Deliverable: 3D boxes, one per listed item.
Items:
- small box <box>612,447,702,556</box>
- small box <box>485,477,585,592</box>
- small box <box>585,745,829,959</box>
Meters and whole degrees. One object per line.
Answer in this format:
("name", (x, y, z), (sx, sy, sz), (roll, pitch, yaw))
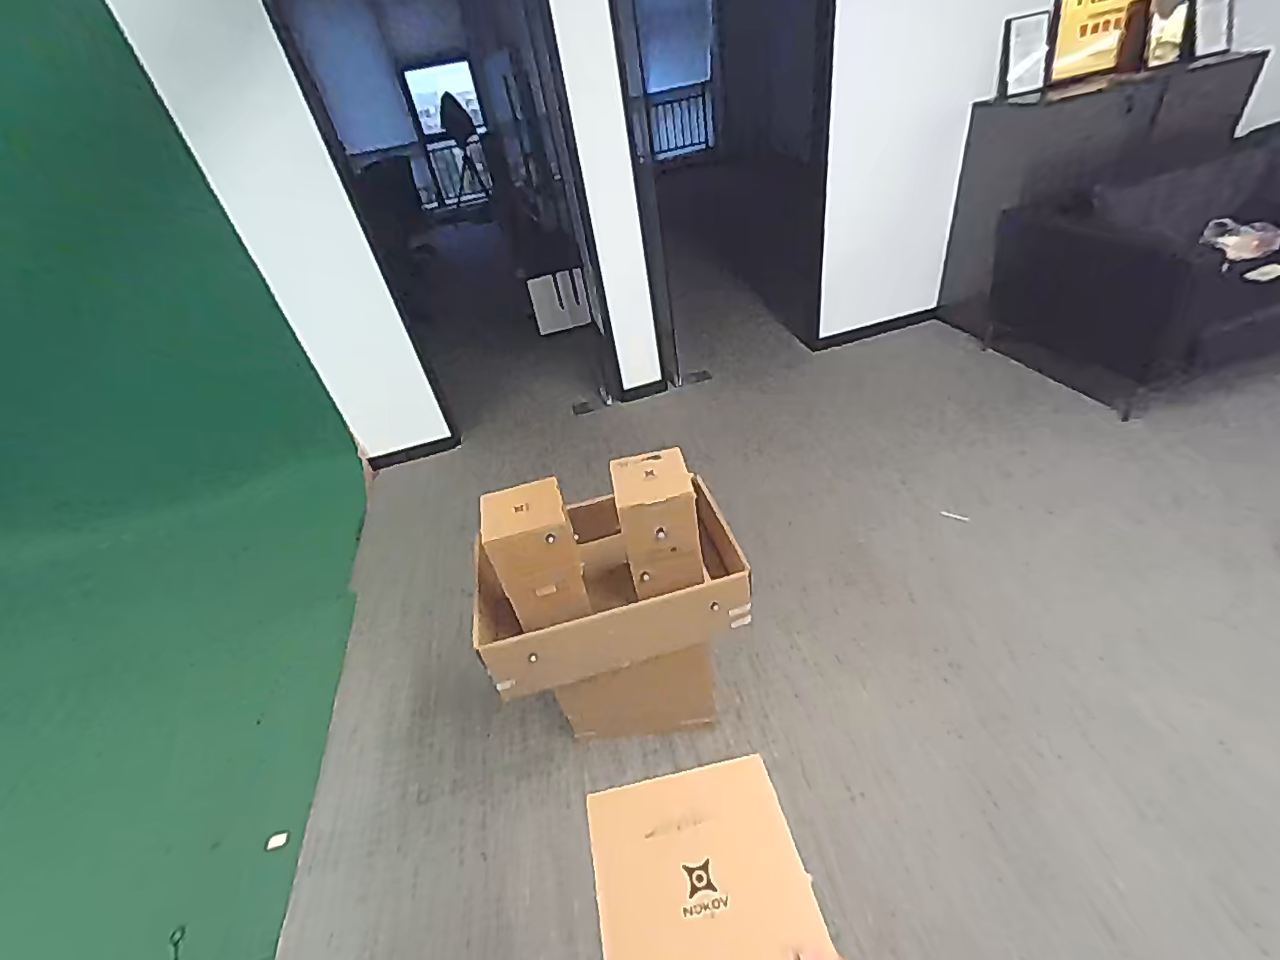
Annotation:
("small box", (0.039, 0.054, 1.222), (0.168, 0.176, 0.179), (-12, 38, 0))
("small box", (-0.235, 0.125, 1.209), (0.179, 0.176, 0.168), (-15, 37, -6))
("small box", (0.050, 0.375, 0.479), (0.168, 0.176, 0.179), (-10, 36, -6))
